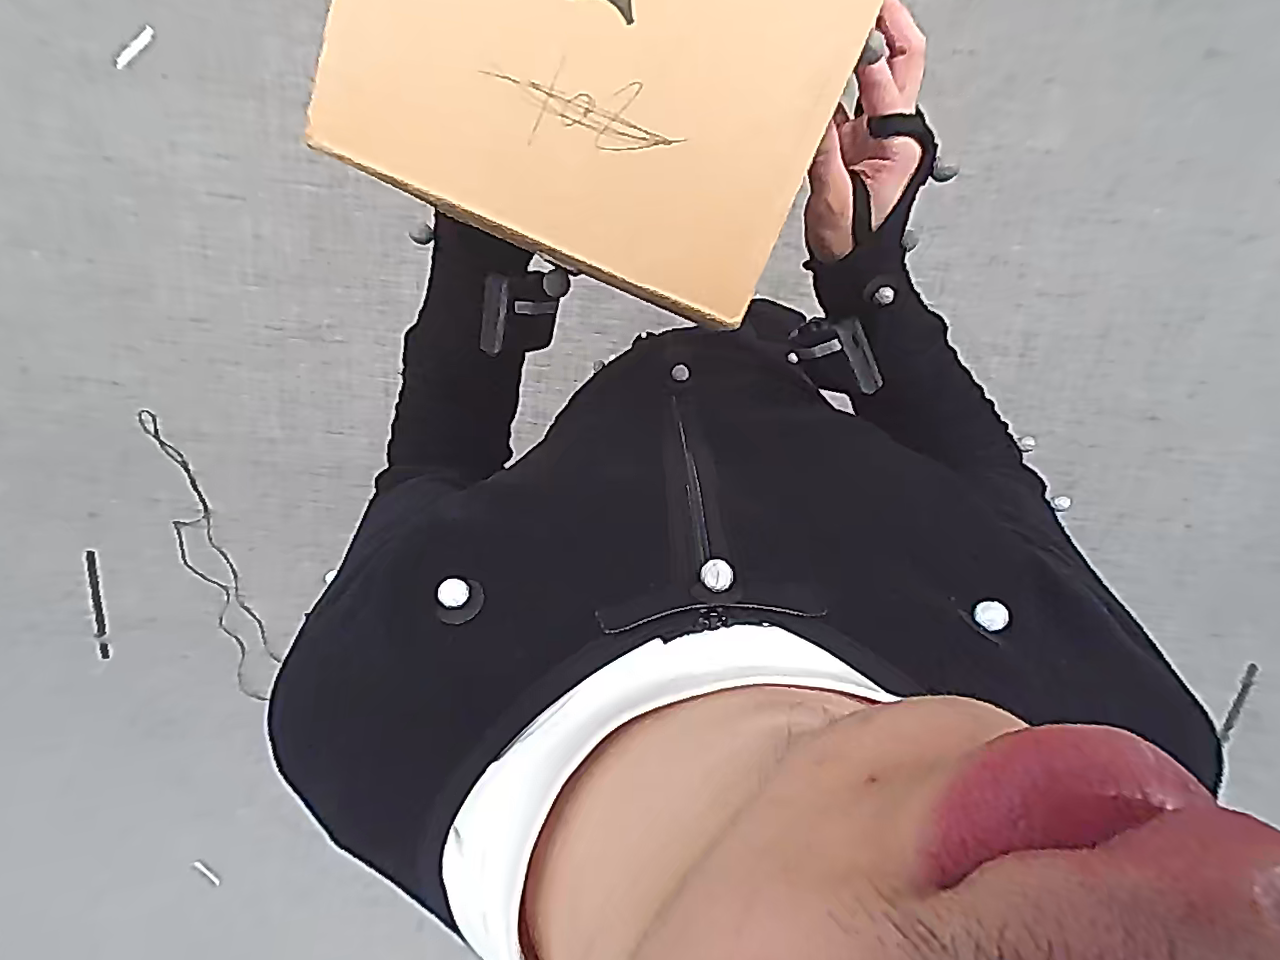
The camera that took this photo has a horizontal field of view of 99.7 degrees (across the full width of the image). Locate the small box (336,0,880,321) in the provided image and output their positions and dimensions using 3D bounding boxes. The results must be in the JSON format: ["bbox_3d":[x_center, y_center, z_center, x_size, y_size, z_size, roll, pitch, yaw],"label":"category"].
[{"bbox_3d":[0.000,-0.189,0.256,0.168,0.176,0.179,22,107,-2],"label":"small box"}]
